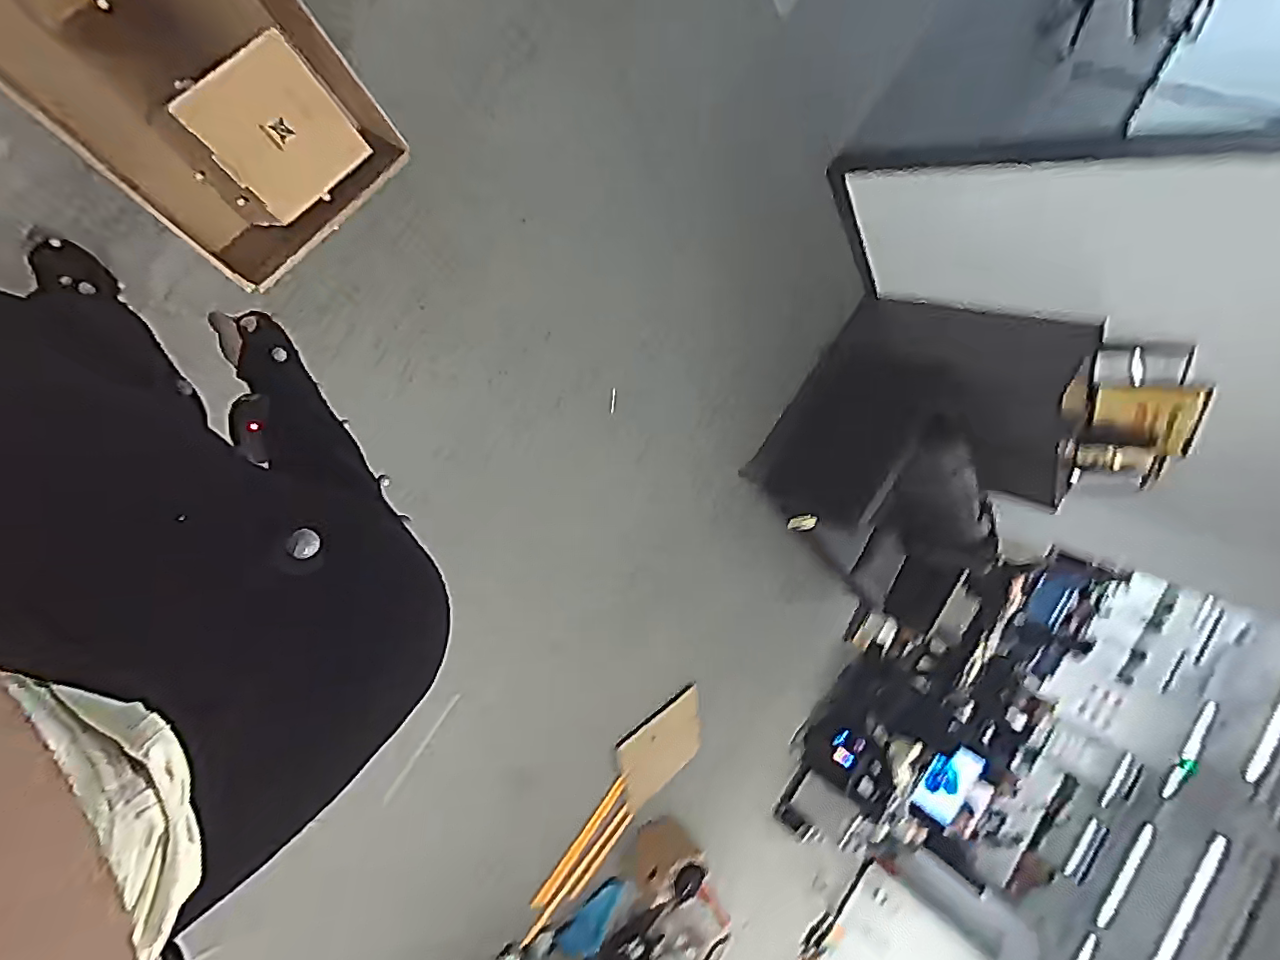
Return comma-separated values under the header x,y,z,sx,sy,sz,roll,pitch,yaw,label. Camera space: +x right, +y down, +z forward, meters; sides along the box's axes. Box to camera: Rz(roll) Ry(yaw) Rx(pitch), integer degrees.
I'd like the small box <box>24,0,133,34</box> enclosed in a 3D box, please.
x,y,z,sx,sy,sz,roll,pitch,yaw,label
-0.769,-0.721,0.689,0.168,0.176,0.179,-48,136,-14,small box

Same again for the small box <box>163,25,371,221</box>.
x,y,z,sx,sy,sz,roll,pitch,yaw,label
-0.536,-0.500,0.779,0.179,0.176,0.168,-50,137,-14,small box
